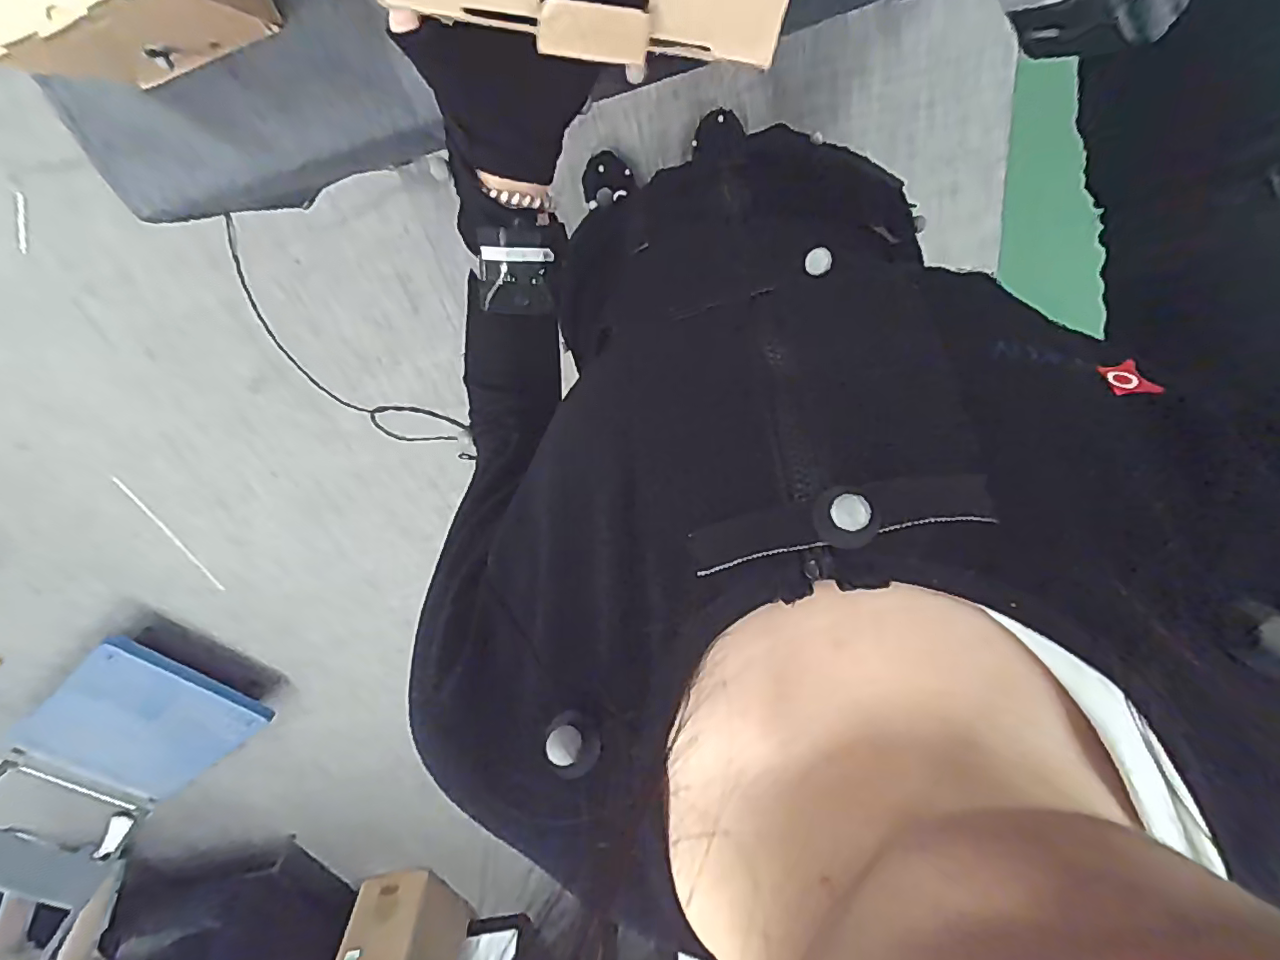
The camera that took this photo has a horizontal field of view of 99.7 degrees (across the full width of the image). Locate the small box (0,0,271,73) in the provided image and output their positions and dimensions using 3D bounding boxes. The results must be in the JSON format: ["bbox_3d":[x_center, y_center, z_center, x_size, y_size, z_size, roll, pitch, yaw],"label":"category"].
[{"bbox_3d":[-0.437,-0.442,0.405,0.168,0.176,0.179,-16,122,8],"label":"small box"}]

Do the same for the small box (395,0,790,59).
[{"bbox_3d":[-0.024,-0.301,0.224,0.168,0.176,0.179,-3,131,-14],"label":"small box"}]
